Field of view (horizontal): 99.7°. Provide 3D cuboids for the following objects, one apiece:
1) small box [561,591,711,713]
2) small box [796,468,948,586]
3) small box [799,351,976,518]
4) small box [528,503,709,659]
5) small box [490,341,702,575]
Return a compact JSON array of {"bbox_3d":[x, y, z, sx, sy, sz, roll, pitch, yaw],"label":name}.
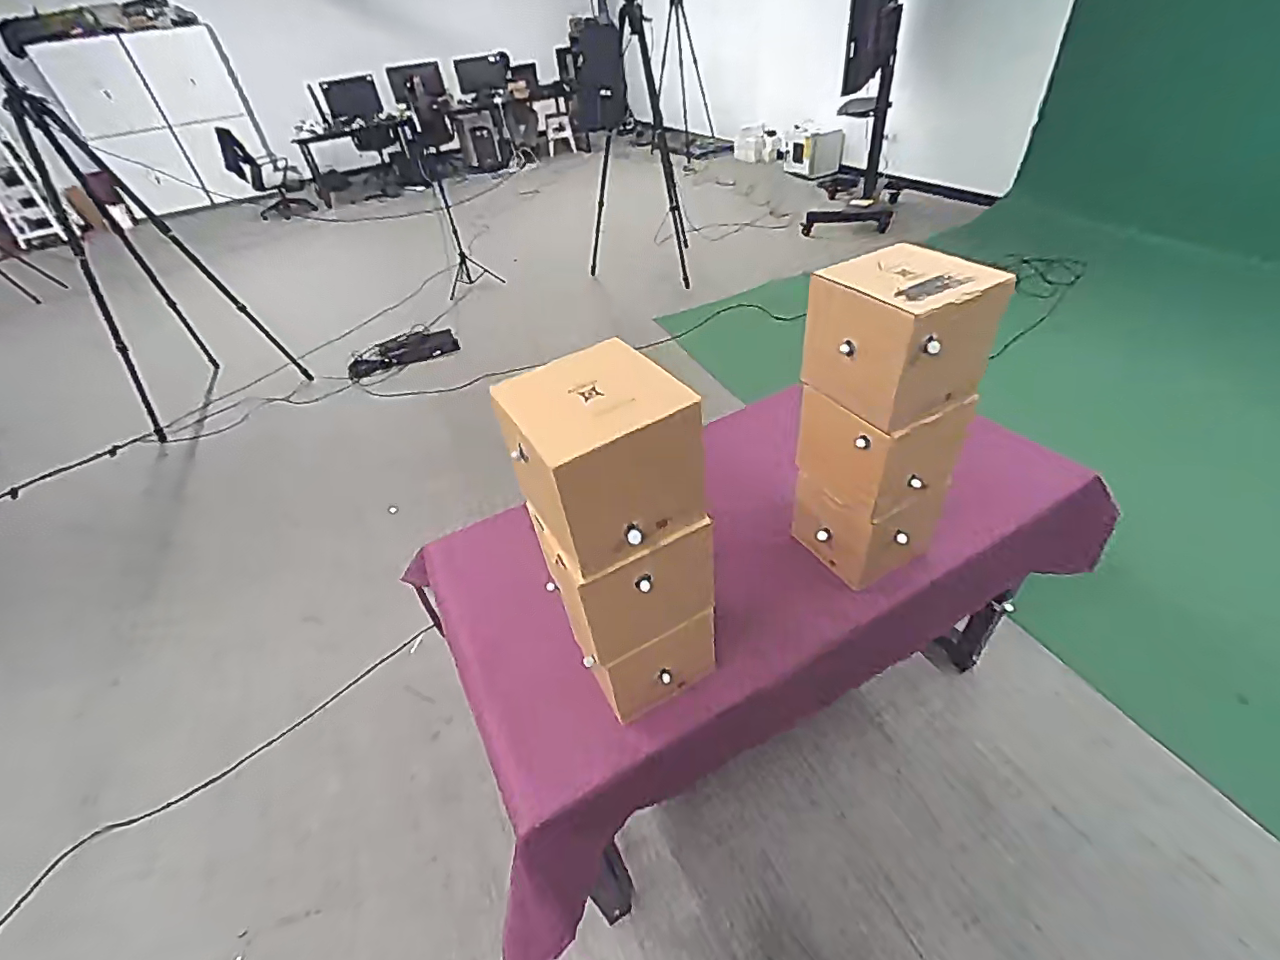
[{"bbox_3d":[-0.003,0.222,0.819,0.168,0.176,0.179,-23,43,-17],"label":"small box"},{"bbox_3d":[0.392,0.052,0.943,0.179,0.176,0.168,-25,44,-17],"label":"small box"},{"bbox_3d":[0.367,-0.072,0.840,0.168,0.176,0.179,-24,44,-17],"label":"small box"},{"bbox_3d":[-0.022,0.100,0.710,0.179,0.176,0.168,-24,43,-18],"label":"small box"},{"bbox_3d":[-0.045,-0.027,0.610,0.168,0.176,0.179,-26,44,-18],"label":"small box"}]
